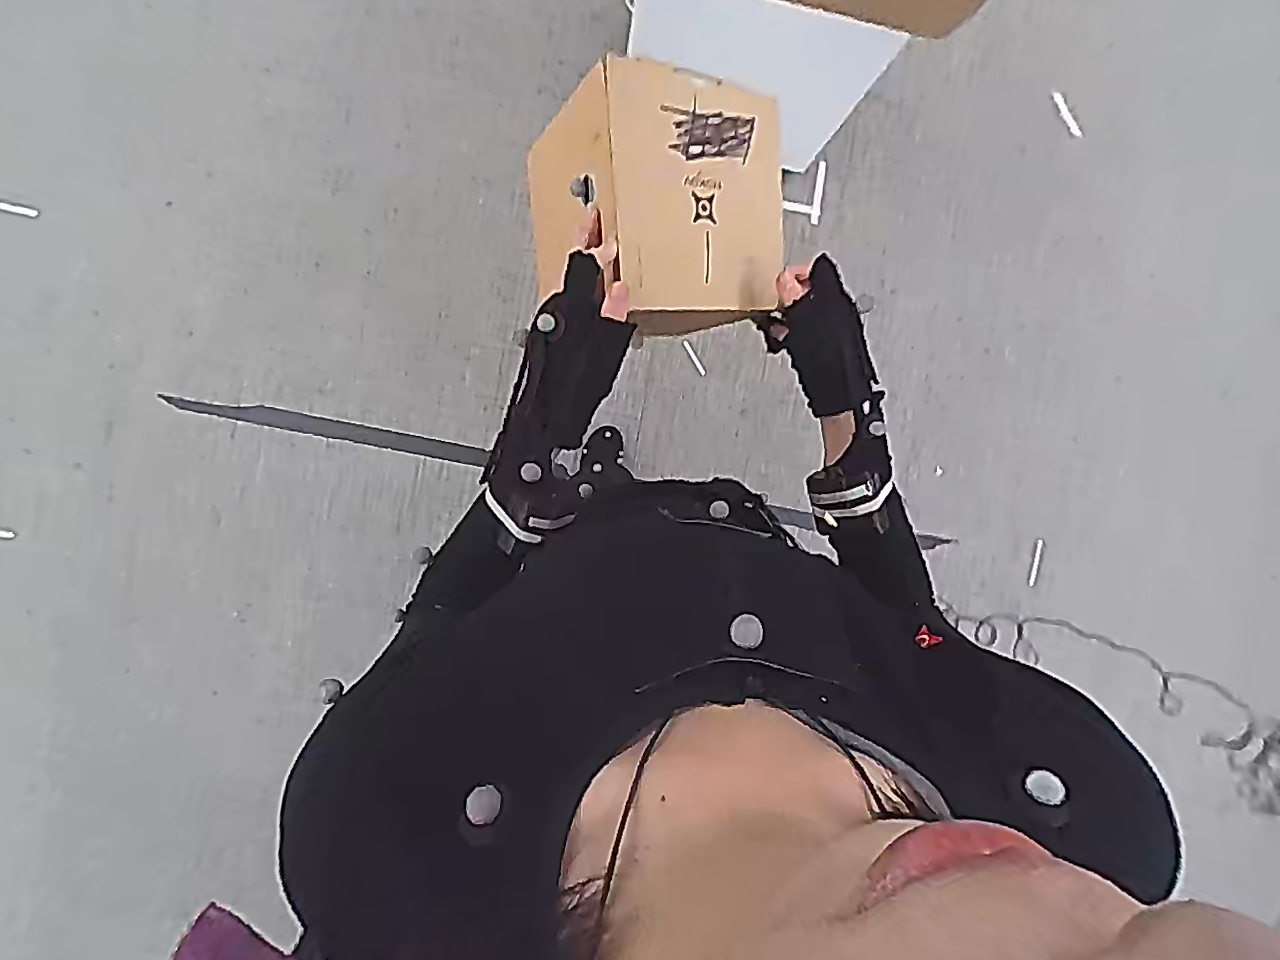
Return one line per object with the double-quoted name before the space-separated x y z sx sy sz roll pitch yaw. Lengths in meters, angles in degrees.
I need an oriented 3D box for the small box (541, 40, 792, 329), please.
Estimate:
"small box" 0.017 -0.239 0.493 0.168 0.176 0.179 -9 101 -28
